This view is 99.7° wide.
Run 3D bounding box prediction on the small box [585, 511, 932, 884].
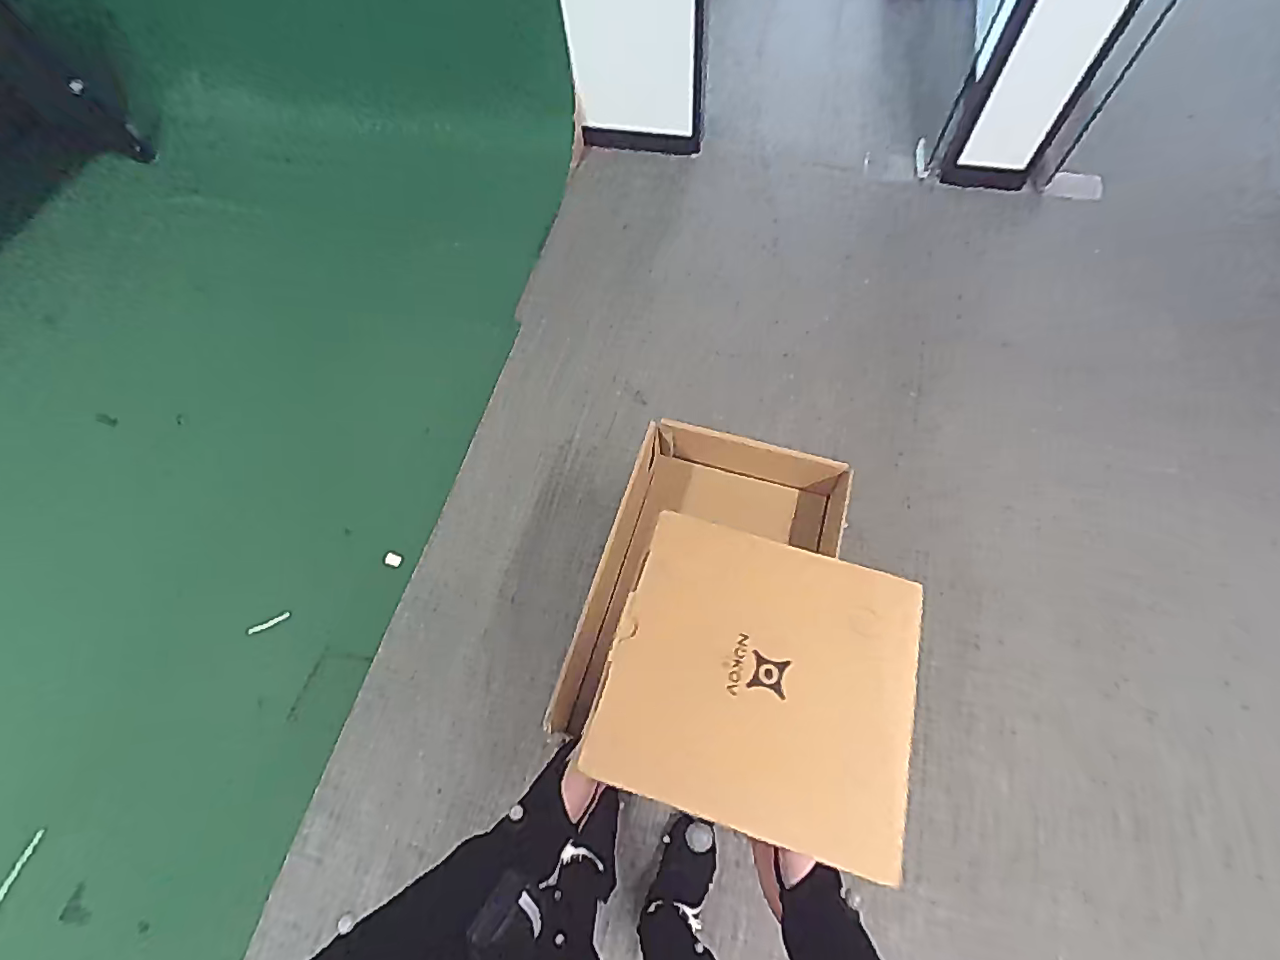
[{"bbox_3d":[0.076,0.147,0.389,0.179,0.176,0.168,16,64,8],"label":"small box"}]
